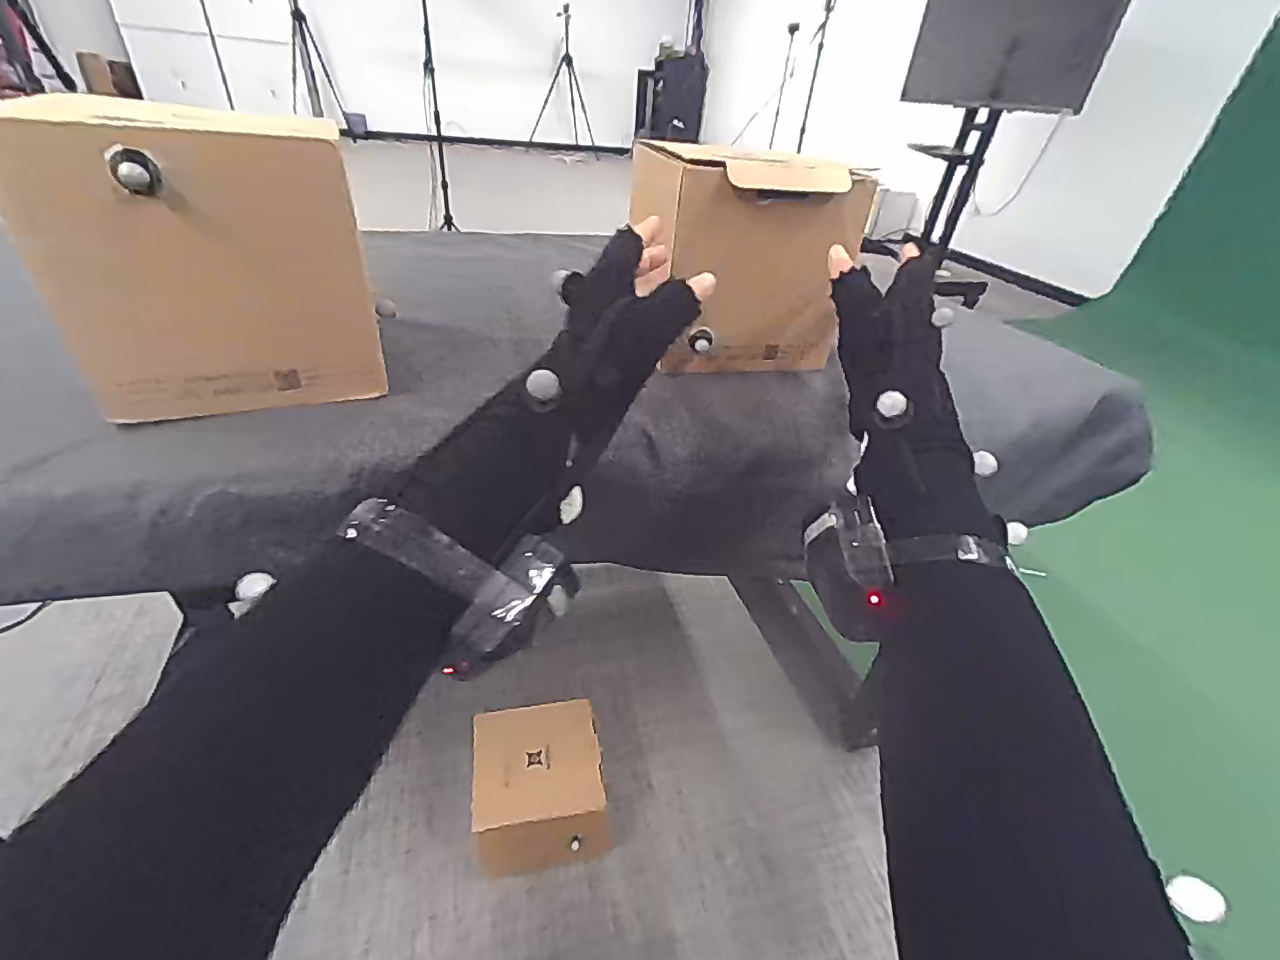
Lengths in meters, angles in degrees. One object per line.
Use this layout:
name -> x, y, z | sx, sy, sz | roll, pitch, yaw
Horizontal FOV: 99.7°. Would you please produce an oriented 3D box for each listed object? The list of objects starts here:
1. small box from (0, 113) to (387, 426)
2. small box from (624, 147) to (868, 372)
small box -> -0.291, -0.157, 0.394 | 0.168, 0.176, 0.179 | -11, 37, -22
small box -> 0.082, -0.213, 0.524 | 0.168, 0.176, 0.179 | -4, 36, -13
